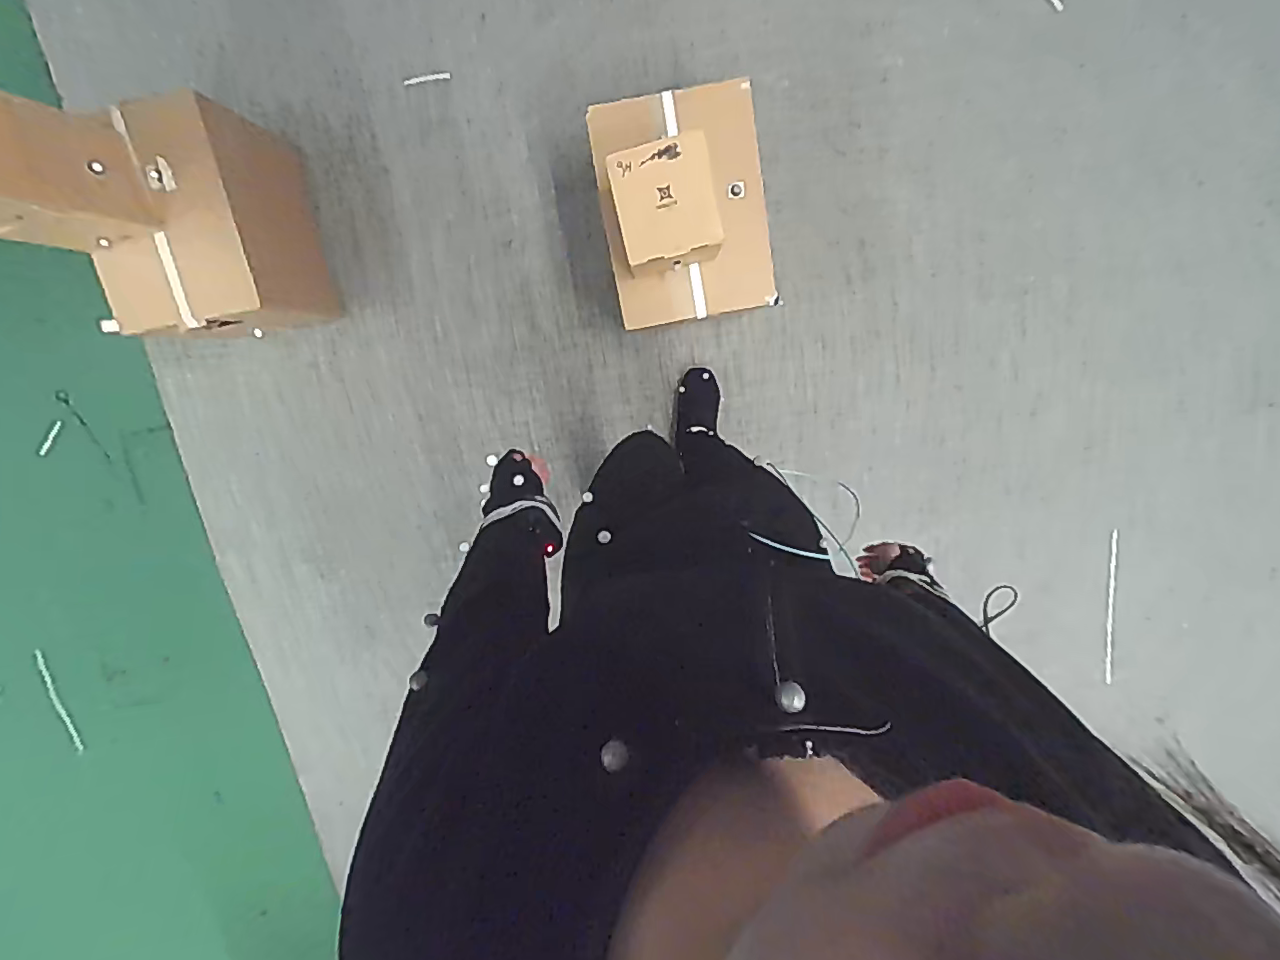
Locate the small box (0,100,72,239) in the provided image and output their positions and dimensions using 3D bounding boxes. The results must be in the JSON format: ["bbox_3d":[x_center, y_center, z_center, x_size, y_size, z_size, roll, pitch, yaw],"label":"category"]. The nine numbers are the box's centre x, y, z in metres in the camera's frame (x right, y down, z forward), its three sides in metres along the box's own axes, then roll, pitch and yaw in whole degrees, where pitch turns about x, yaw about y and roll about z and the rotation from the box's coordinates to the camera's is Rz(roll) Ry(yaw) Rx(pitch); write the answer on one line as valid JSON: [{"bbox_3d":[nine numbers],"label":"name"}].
[{"bbox_3d":[-1.043,-0.485,0.816,0.168,0.176,0.179,-10,104,7],"label":"small box"}]

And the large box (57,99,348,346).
[{"bbox_3d":[-0.938,-0.537,1.220,0.320,0.320,0.408,-10,102,4],"label":"large box"}]

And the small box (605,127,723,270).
[{"bbox_3d":[0.046,-0.485,0.965,0.168,0.176,0.179,-13,103,6],"label":"small box"}]
